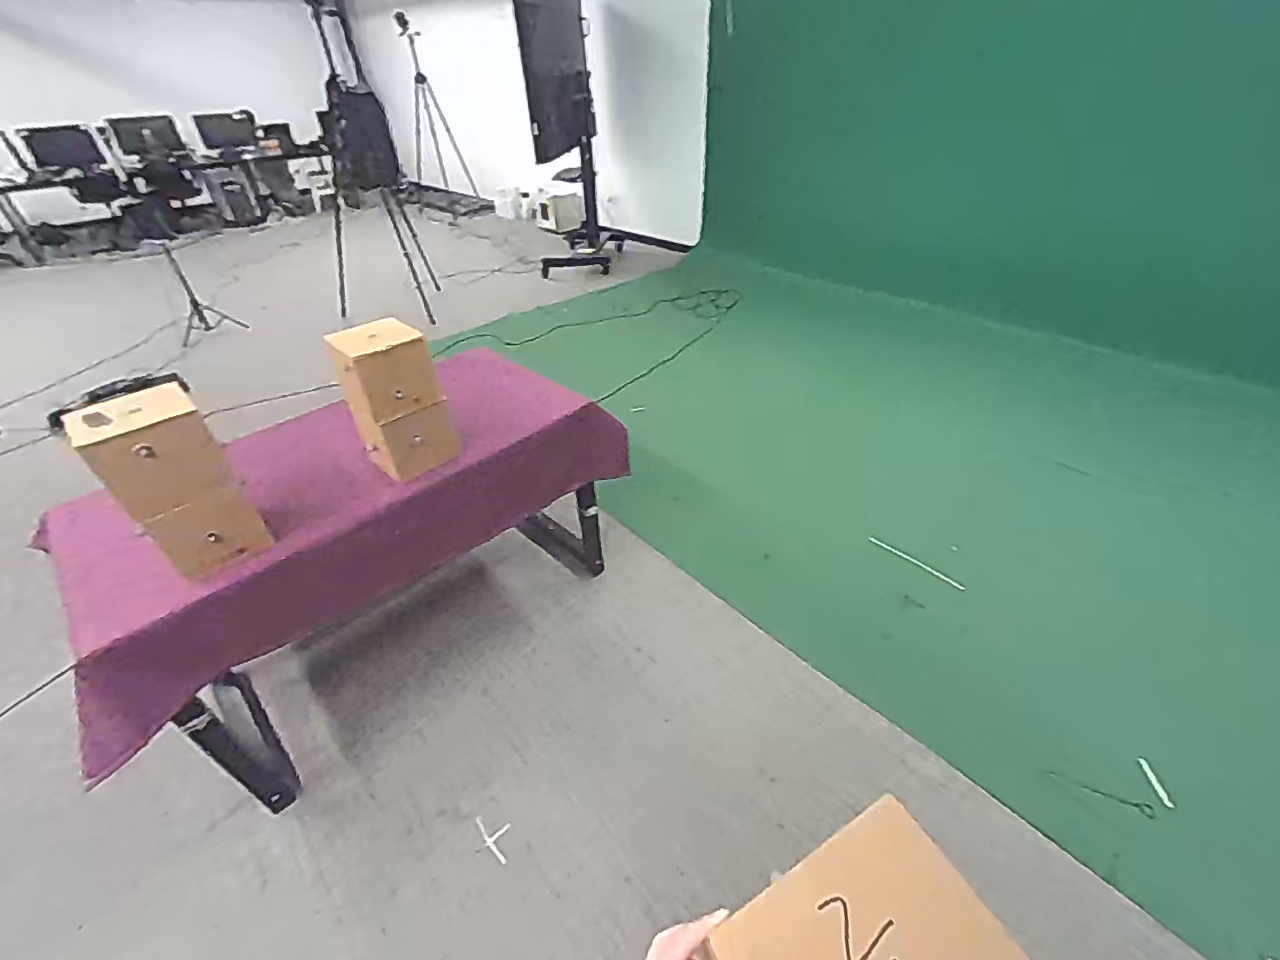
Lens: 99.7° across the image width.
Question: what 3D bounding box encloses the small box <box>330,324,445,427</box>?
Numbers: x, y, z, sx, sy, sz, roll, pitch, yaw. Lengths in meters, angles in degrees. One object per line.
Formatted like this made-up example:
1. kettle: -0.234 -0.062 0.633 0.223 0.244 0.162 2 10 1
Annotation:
1. small box: -0.589 -0.246 1.270 0.168 0.176 0.179 -32 46 -33

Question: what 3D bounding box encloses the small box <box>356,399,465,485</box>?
1. small box: -0.574 -0.114 1.366 0.168 0.176 0.179 29 48 35

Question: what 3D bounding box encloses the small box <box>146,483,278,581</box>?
1. small box: -0.896 0.084 1.127 0.168 0.176 0.179 -32 45 -34

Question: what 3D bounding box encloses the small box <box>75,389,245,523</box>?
1. small box: -0.903 -0.046 1.027 0.168 0.176 0.179 29 47 35
